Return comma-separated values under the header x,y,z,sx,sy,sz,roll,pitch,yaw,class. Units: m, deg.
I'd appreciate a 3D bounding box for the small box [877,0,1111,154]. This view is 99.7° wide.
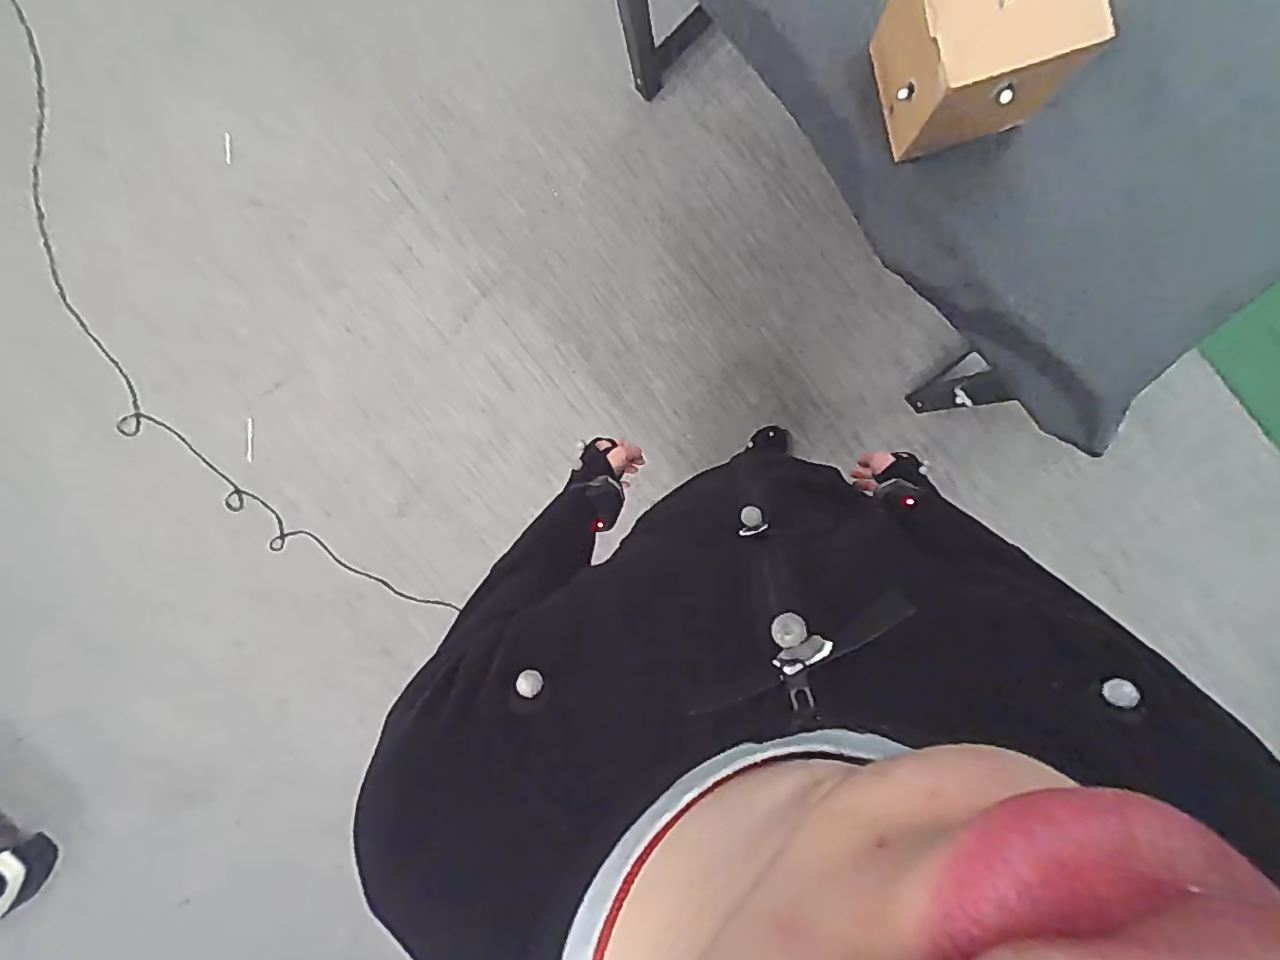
x,y,z,sx,sy,sz,roll,pitch,yaw,class
0.408,-0.538,0.660,0.179,0.176,0.168,-14,94,7,small box
